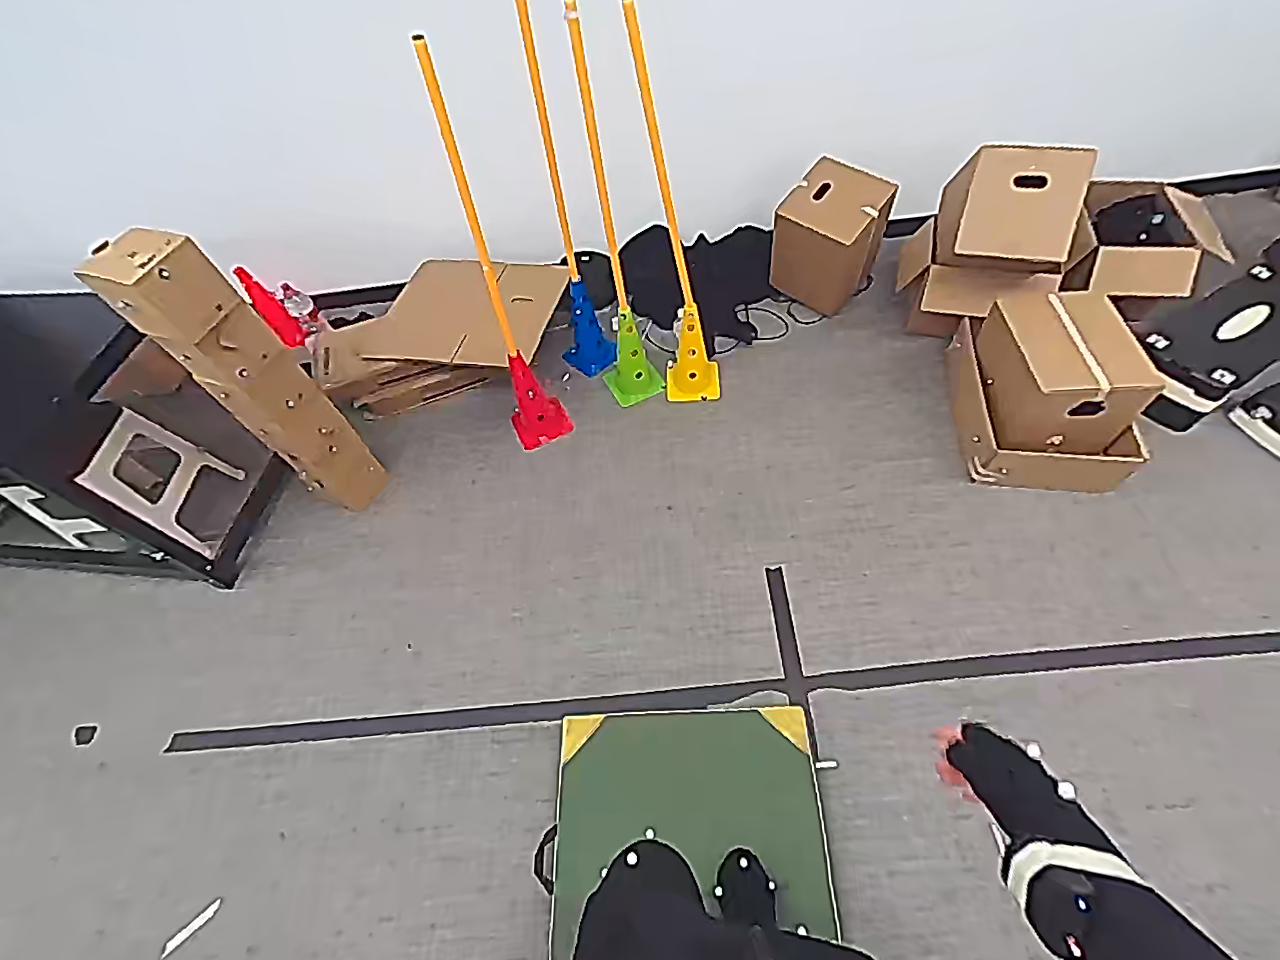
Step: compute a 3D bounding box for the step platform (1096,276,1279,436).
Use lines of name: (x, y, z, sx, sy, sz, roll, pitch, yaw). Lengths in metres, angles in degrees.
step platform: (1.920, -0.429, 1.819, 0.684, 0.204, 0.286, -30, 58, -12)
